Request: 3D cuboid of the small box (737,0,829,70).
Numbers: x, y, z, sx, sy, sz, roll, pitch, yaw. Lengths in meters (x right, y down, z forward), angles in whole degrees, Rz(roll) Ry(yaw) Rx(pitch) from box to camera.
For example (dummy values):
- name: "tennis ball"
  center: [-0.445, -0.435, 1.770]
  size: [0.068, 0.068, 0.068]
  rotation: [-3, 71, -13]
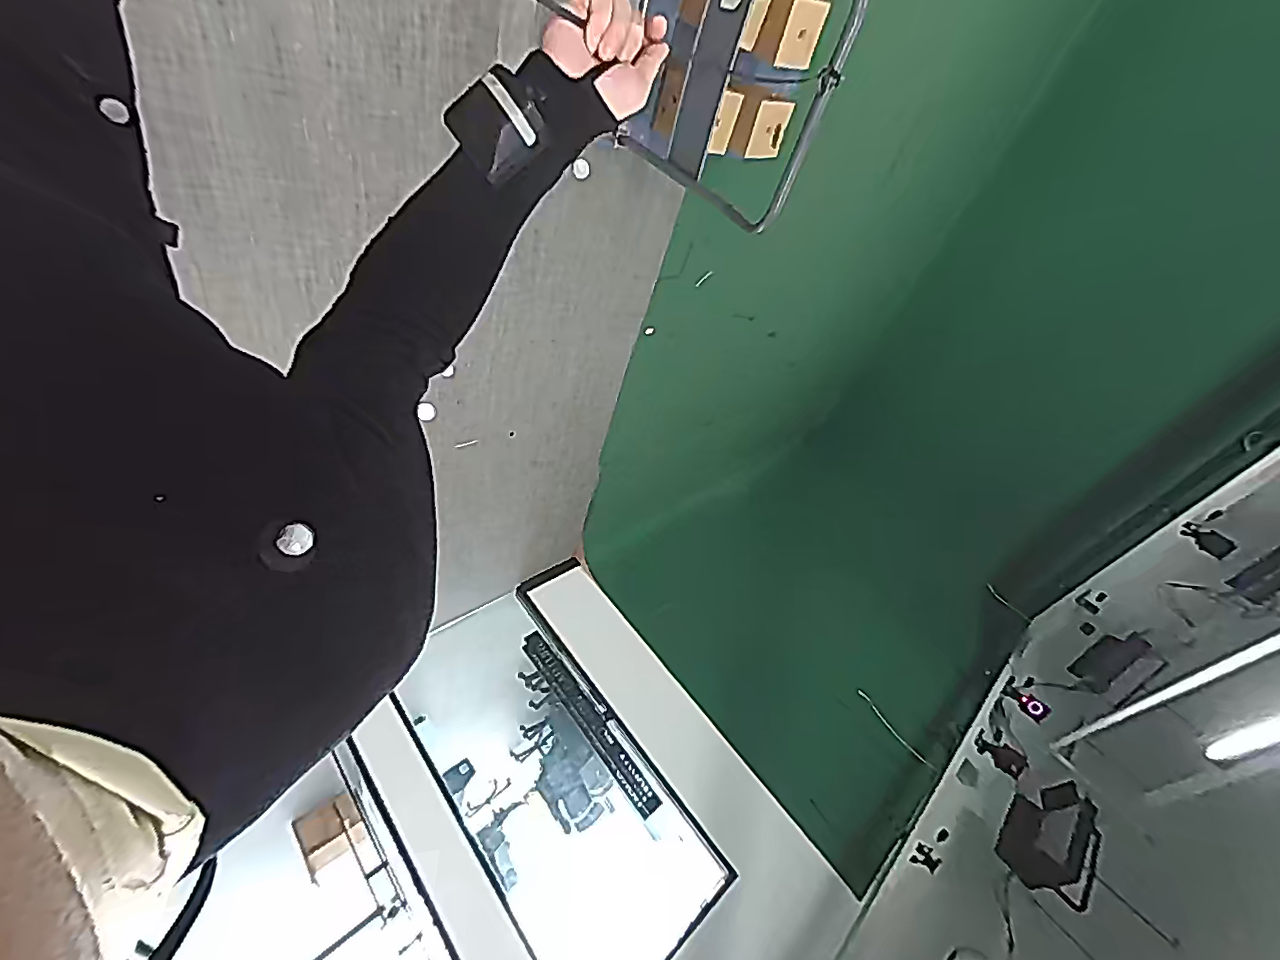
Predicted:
- name: "small box"
  center: [0.424, -1.369, 1.628]
  size: [0.179, 0.176, 0.168]
  rotation: [-25, 150, -35]

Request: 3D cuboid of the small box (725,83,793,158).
- name: "small box"
  center: [0.369, -1.200, 1.806]
  size: [0.179, 0.176, 0.168]
  rotation: [-24, 147, -34]

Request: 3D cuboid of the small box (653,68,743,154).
- name: "small box"
  center: [0.171, -1.119, 1.641]
  size: [0.179, 0.176, 0.168]
  rotation: [-21, 146, -38]
